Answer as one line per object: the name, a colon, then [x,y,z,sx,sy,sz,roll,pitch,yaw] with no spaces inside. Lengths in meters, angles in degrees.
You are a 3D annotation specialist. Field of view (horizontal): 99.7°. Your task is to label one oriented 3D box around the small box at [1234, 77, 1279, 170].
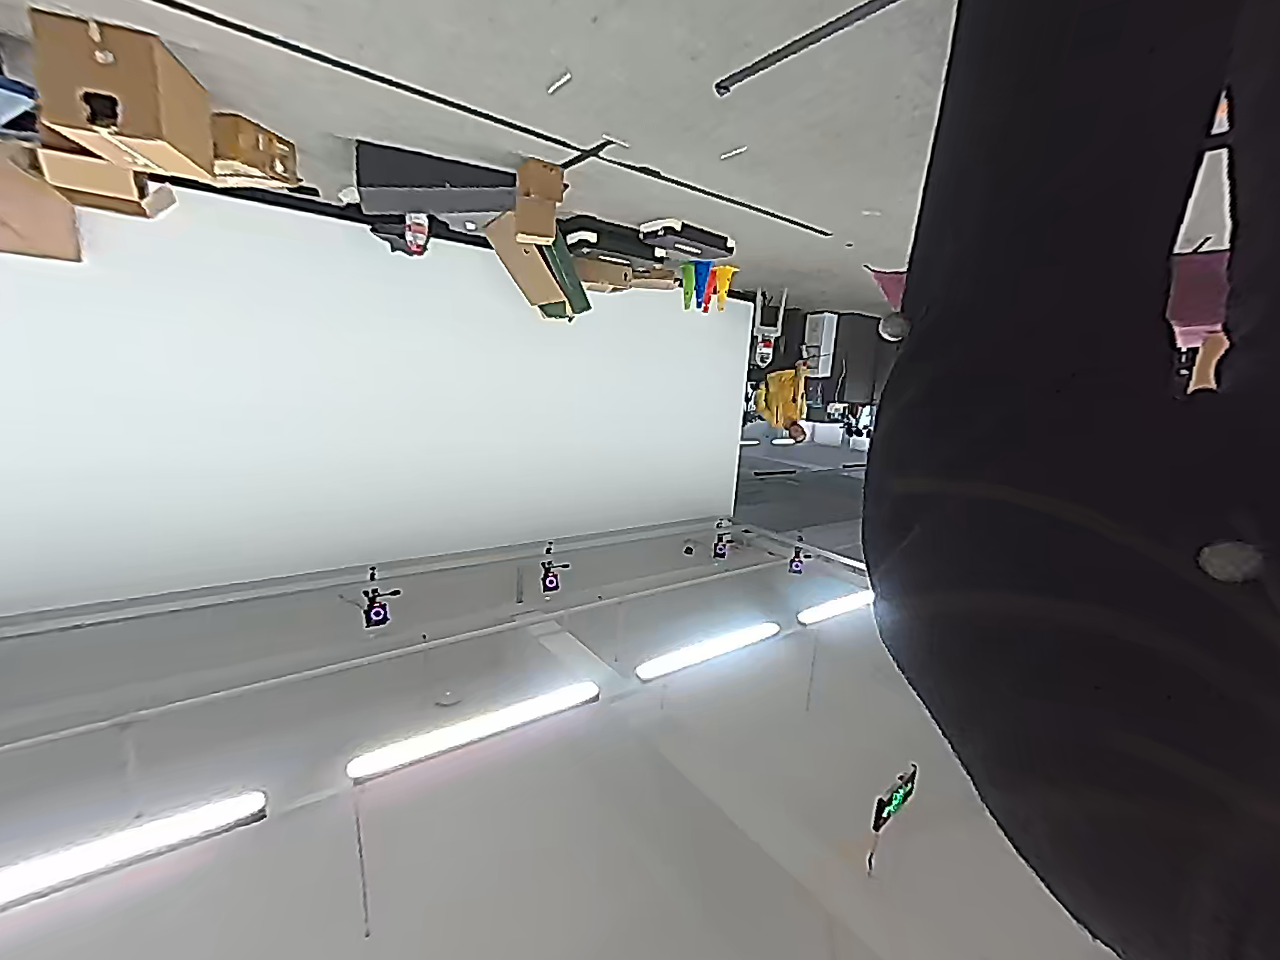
small box: [1.676,-0.924,1.378,0.168,0.176,0.179,-4,-166,-35]
